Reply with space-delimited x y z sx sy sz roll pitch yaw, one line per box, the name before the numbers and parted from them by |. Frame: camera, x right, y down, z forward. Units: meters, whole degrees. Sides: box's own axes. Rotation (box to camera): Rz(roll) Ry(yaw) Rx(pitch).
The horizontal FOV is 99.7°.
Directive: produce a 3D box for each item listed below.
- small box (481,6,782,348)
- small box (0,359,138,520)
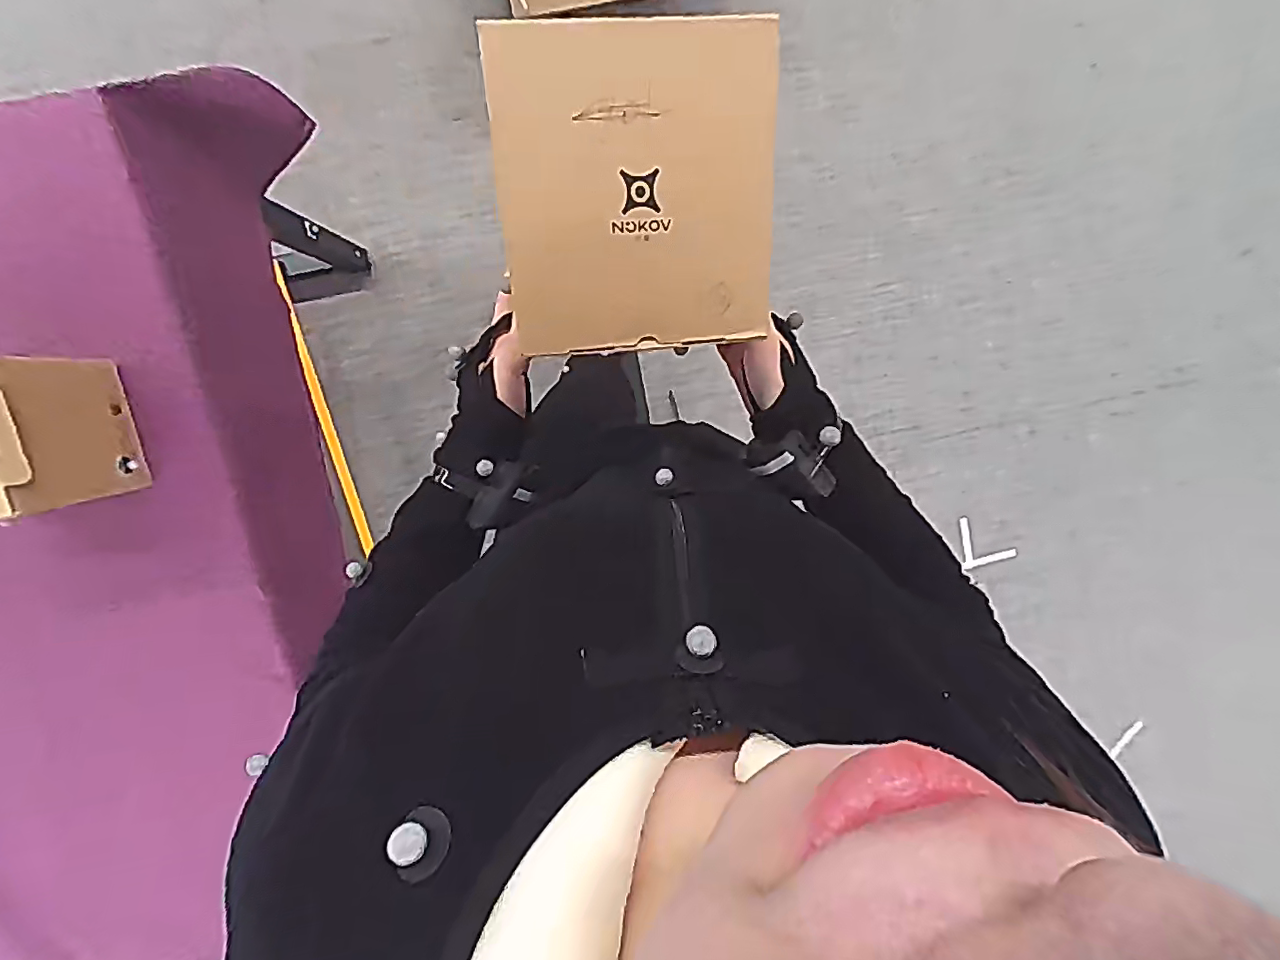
small box | -0.009 -0.199 0.392 0.168 0.176 0.179 -5 111 -6
small box | -0.731 -0.045 0.614 0.179 0.176 0.168 -8 101 0
